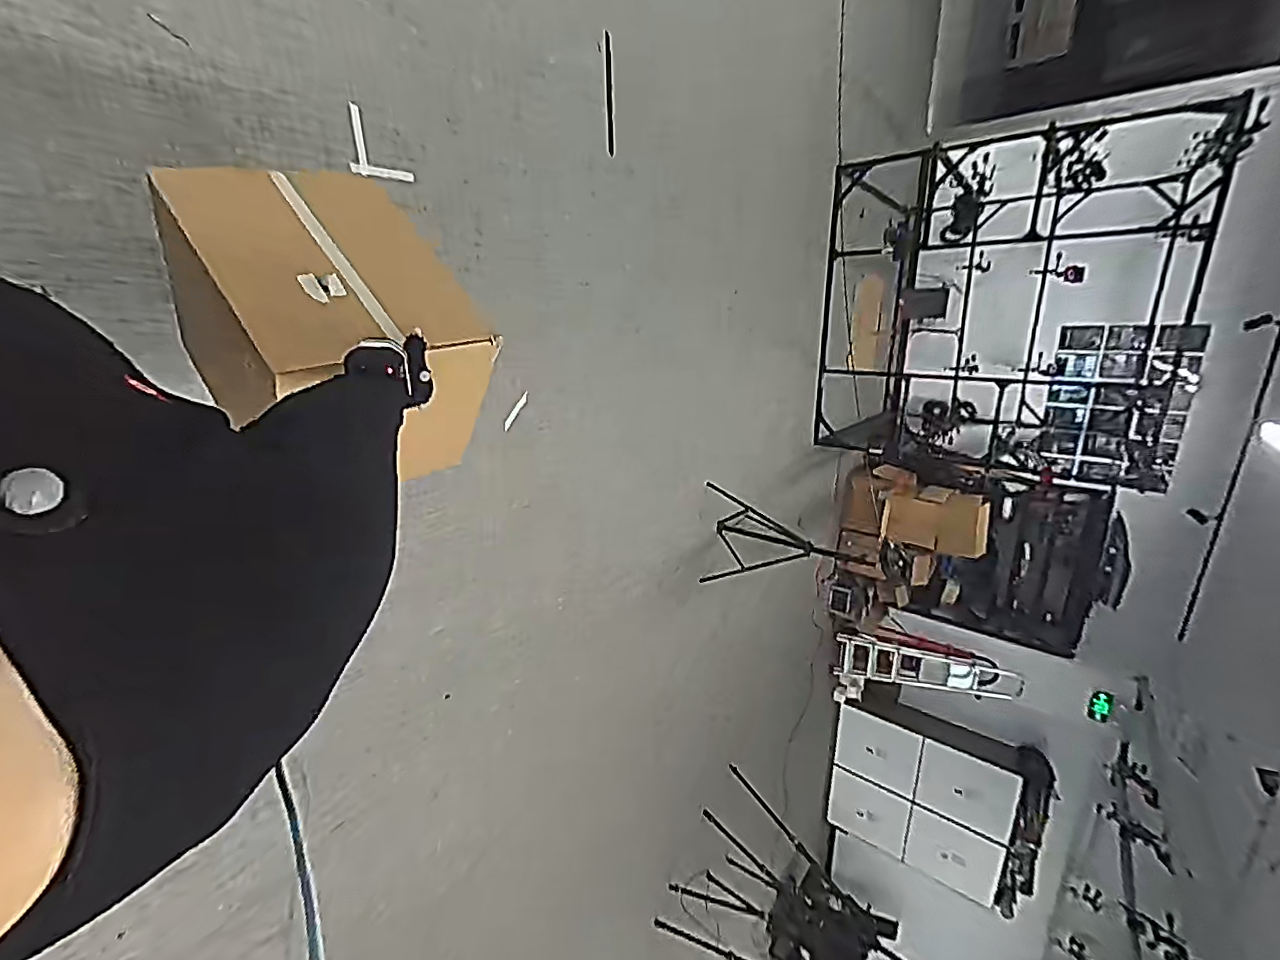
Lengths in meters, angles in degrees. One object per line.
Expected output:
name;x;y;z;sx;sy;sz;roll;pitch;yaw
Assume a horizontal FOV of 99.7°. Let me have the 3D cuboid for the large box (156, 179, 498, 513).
large box;-0.510;-0.223;0.896;0.320;0.408;0.320;-26;160;-43
